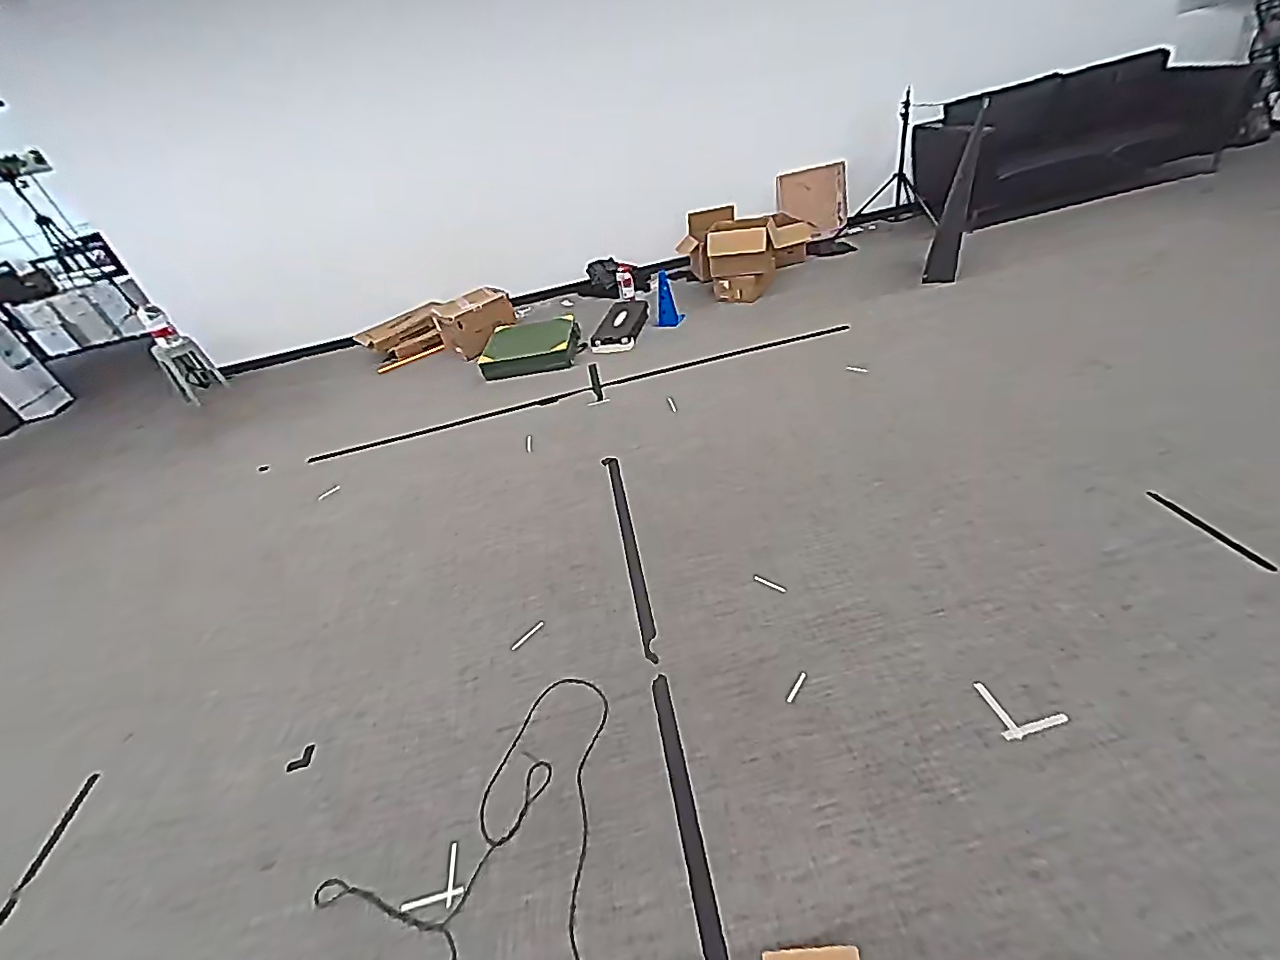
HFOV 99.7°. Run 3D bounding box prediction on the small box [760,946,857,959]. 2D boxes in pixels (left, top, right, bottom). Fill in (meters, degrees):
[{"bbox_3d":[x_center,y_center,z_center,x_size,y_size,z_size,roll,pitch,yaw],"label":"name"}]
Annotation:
[{"bbox_3d":[0.326,0.987,0.992,0.179,0.176,0.168,-8,37,5],"label":"small box"}]
